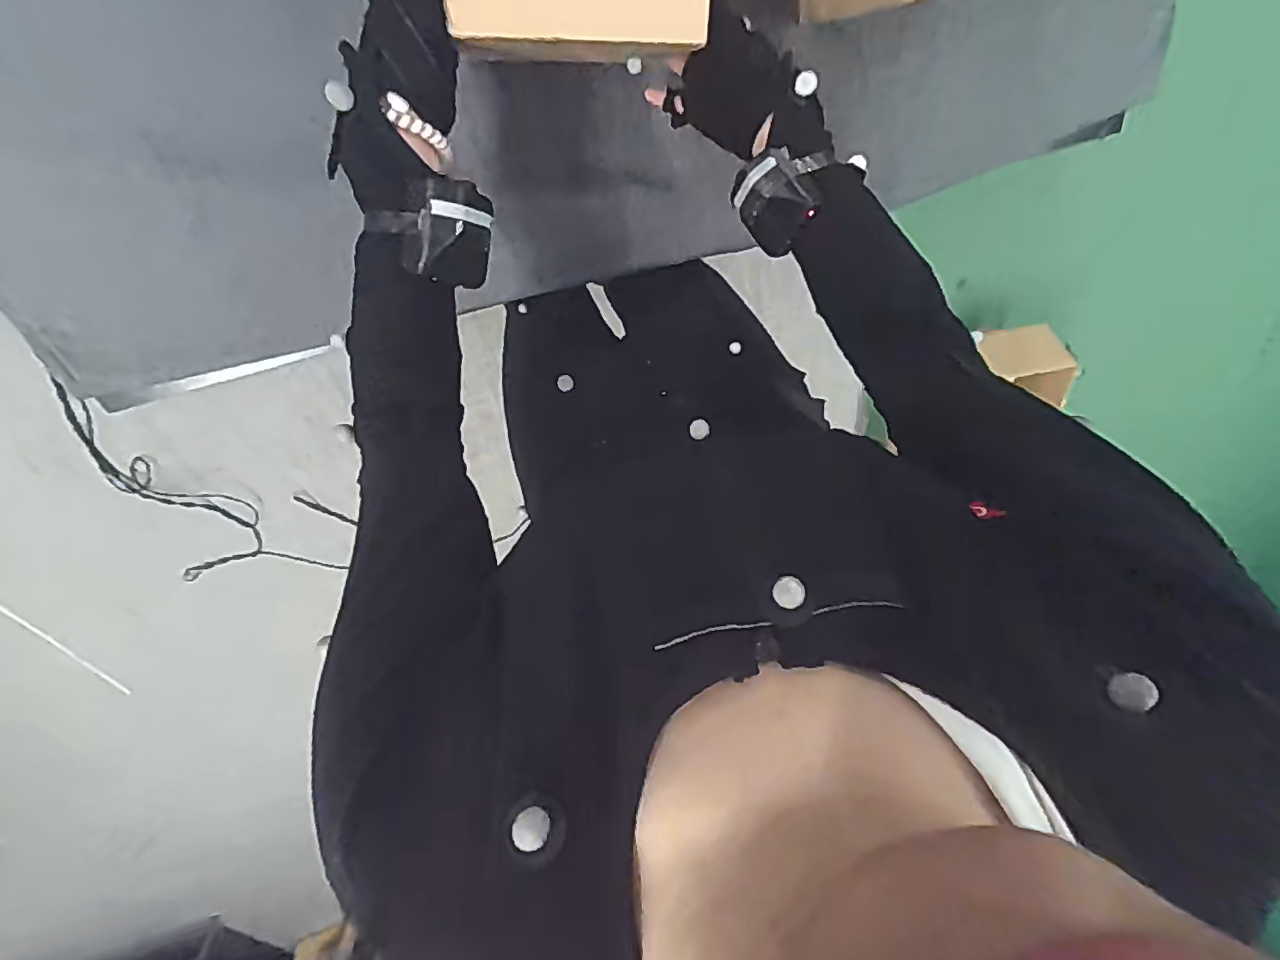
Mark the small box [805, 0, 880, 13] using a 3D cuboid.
[{"bbox_3d":[0.240,-0.487,0.409,0.179,0.176,0.168,-19,127,-3],"label":"small box"}]
